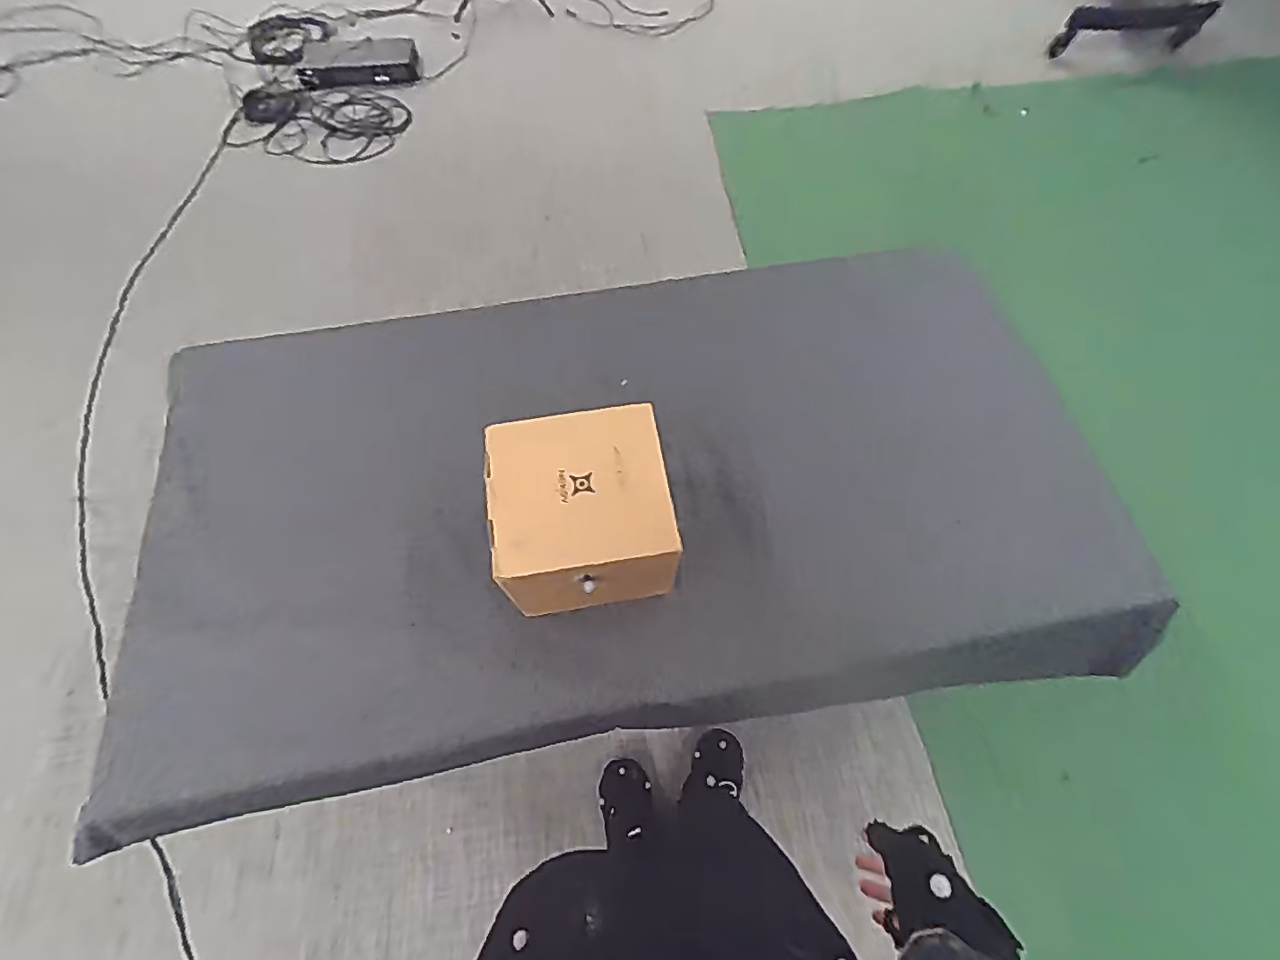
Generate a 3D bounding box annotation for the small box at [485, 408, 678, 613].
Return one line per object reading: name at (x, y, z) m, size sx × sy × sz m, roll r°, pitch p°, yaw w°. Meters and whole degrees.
small box at (-0.063, 0.042, 0.604) m, size 0.179 × 0.176 × 0.168 m, roll -9°, pitch 66°, yaw -6°
